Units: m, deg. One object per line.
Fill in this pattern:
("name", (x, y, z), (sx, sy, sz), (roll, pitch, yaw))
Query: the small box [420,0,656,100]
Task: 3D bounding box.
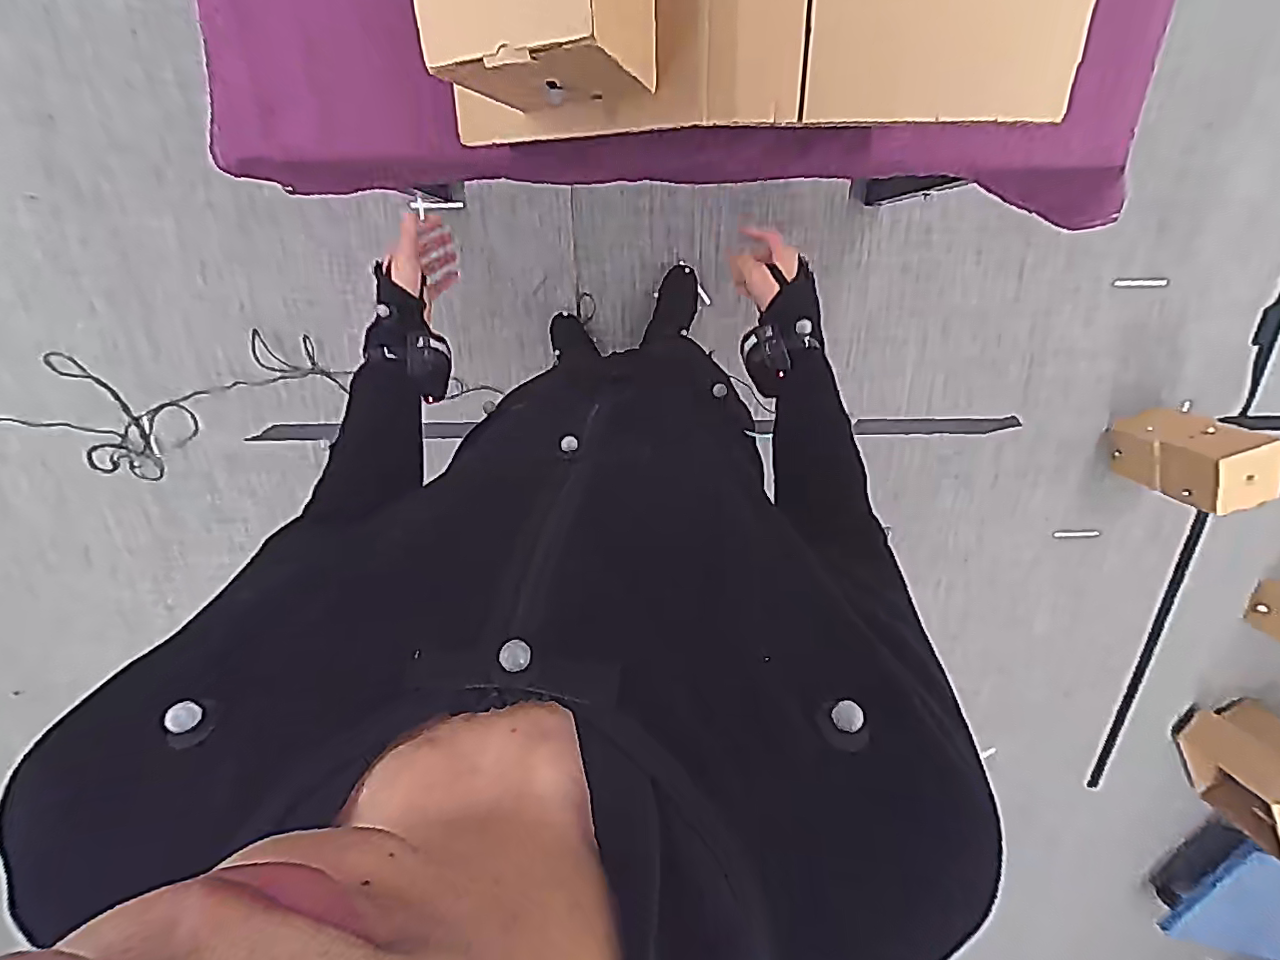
("small box", (-0.087, -0.469, 0.494), (0.168, 0.176, 0.179), (6, 114, 18))
